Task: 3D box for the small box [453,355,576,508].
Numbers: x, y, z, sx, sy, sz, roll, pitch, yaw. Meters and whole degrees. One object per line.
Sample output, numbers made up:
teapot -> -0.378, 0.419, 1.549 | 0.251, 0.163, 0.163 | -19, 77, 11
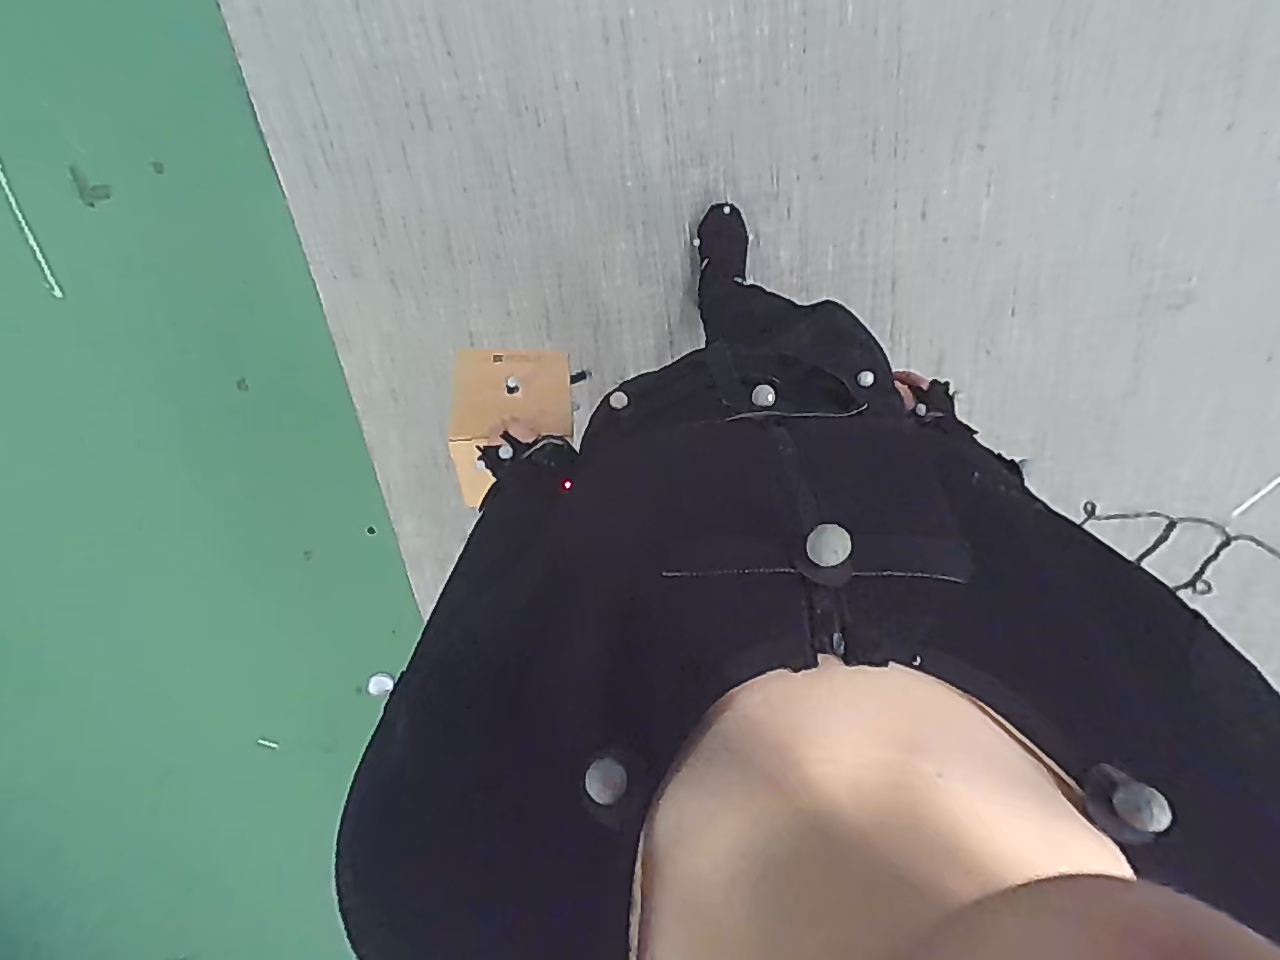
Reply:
small box -> -0.188, -0.077, 0.829 | 0.168, 0.176, 0.179 | -4, 148, -9
